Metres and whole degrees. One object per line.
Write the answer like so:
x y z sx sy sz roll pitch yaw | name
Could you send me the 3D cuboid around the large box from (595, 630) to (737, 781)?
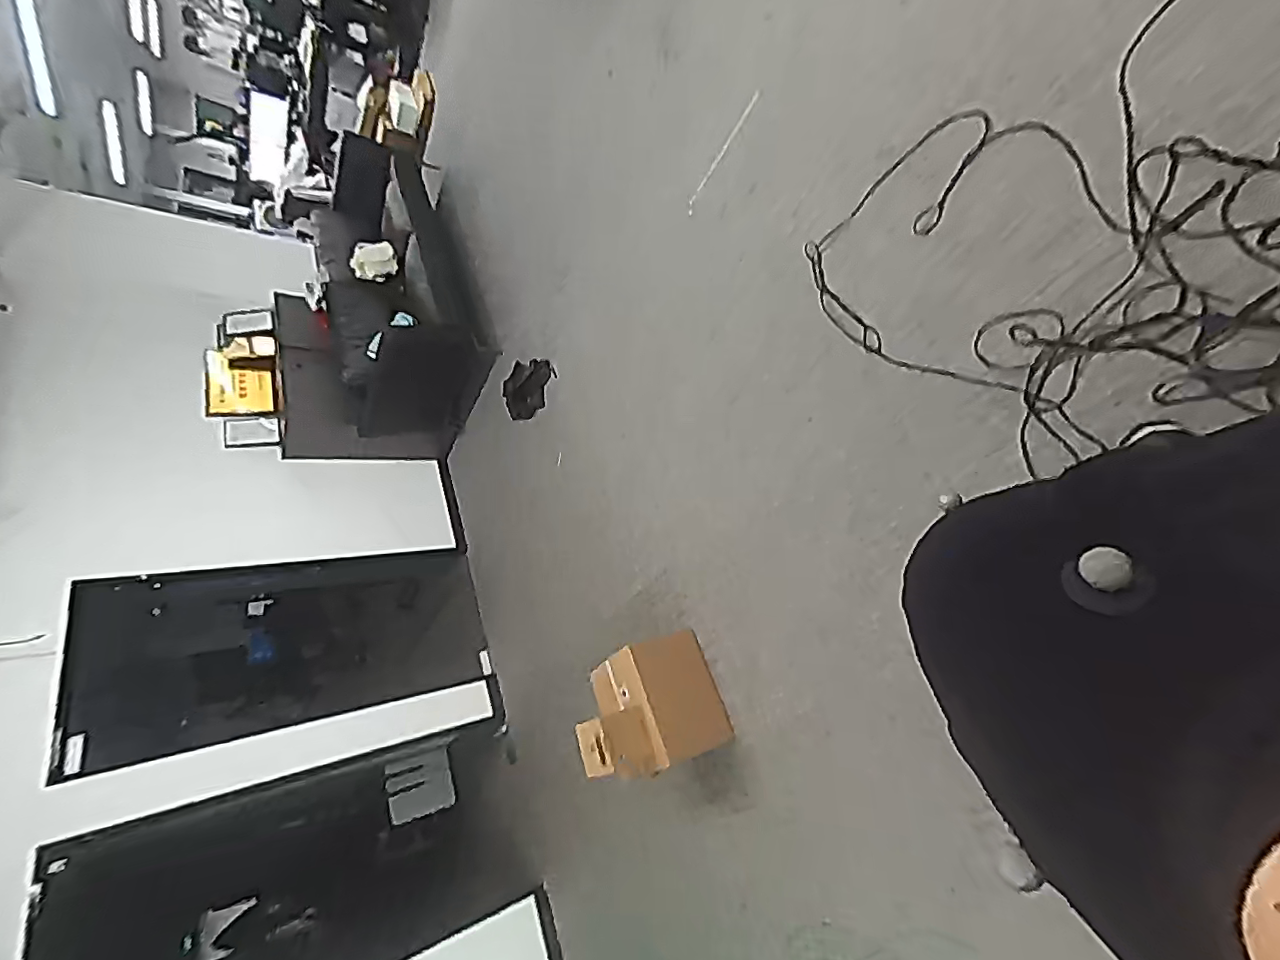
0.085 0.816 1.984 0.320 0.320 0.408 -48 53 41 | large box
